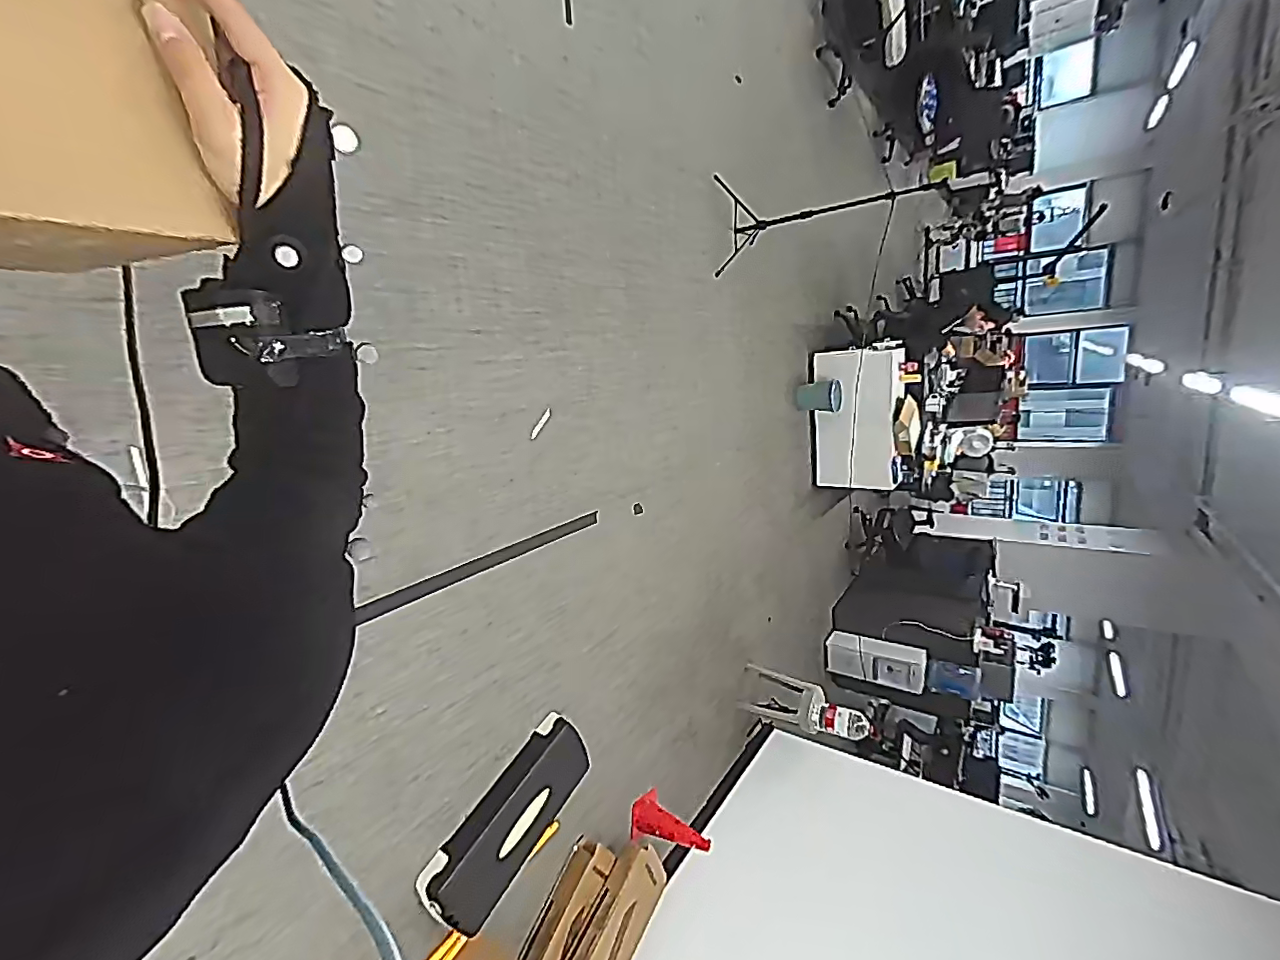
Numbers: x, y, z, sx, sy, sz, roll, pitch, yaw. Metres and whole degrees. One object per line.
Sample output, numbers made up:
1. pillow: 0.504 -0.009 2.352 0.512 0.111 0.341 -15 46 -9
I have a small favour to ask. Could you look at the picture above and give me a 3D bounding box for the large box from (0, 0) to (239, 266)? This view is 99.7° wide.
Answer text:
1. large box: -0.479 -0.266 0.206 0.408 0.320 0.320 -25 120 -55
